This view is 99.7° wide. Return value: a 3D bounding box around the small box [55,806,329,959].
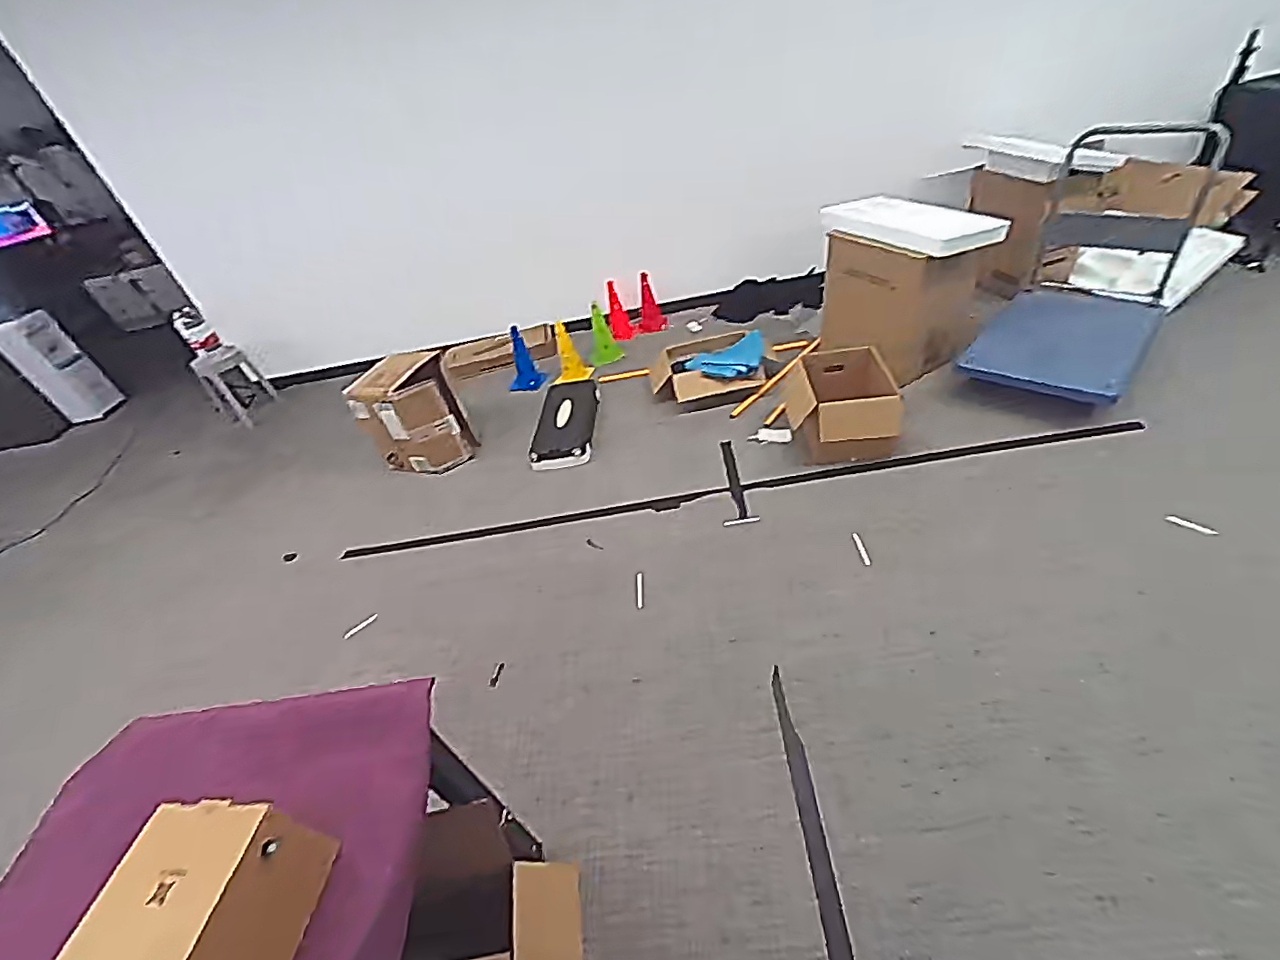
[{"bbox_3d":[-0.526,0.525,0.662,0.168,0.176,0.179,-6,39,9],"label":"small box"}]
